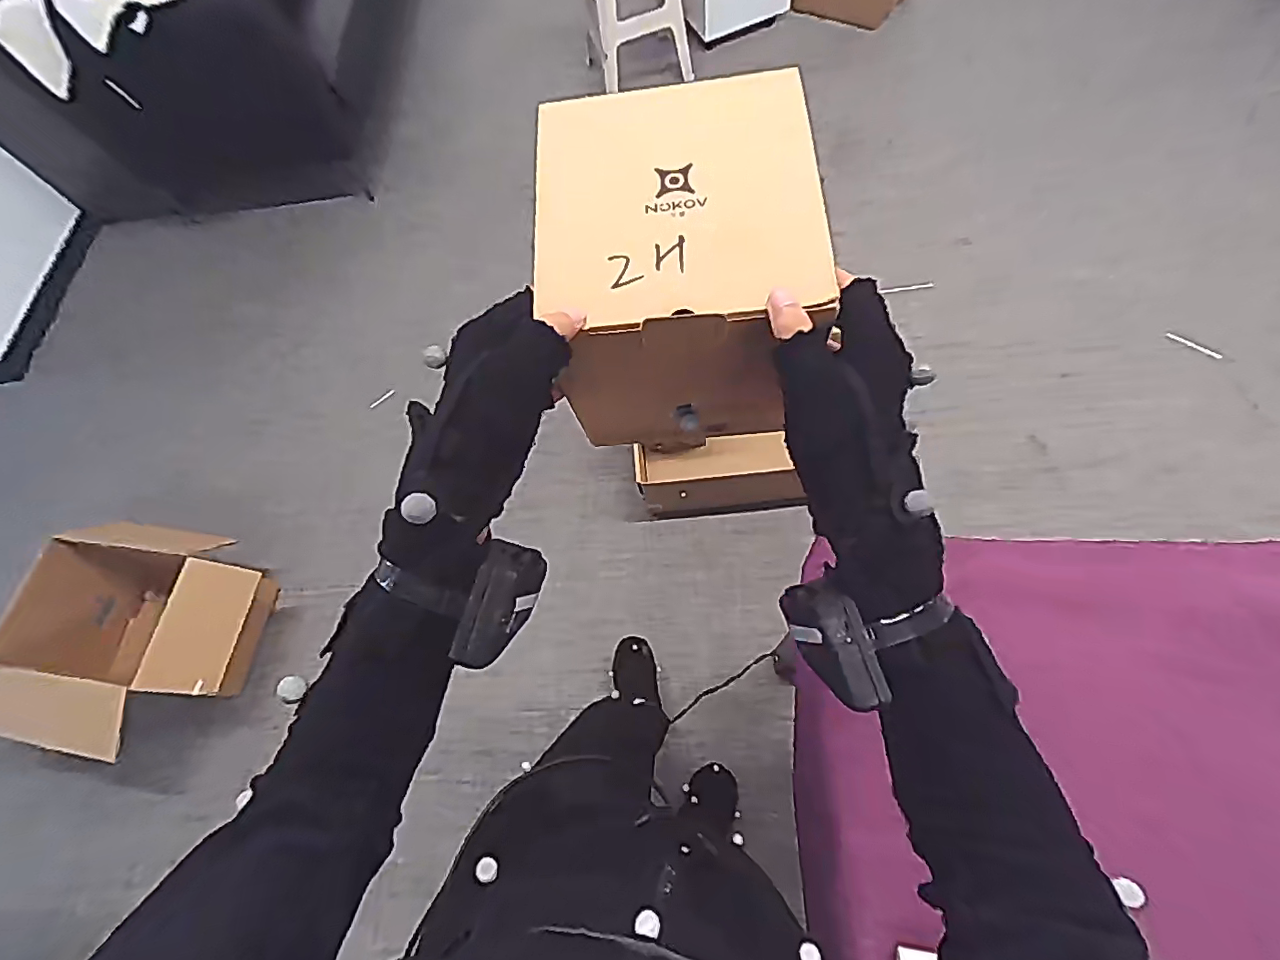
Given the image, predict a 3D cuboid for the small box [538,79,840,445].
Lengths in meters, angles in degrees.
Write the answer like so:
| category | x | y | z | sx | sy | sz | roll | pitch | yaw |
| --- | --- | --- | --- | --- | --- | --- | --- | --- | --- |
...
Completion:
| category | x | y | z | sx | sy | sz | roll | pitch | yaw |
| --- | --- | --- | --- | --- | --- | --- | --- | --- | --- |
| small box | 0.031 | -0.140 | 0.394 | 0.168 | 0.176 | 0.179 | -4 | 71 | 6 |
